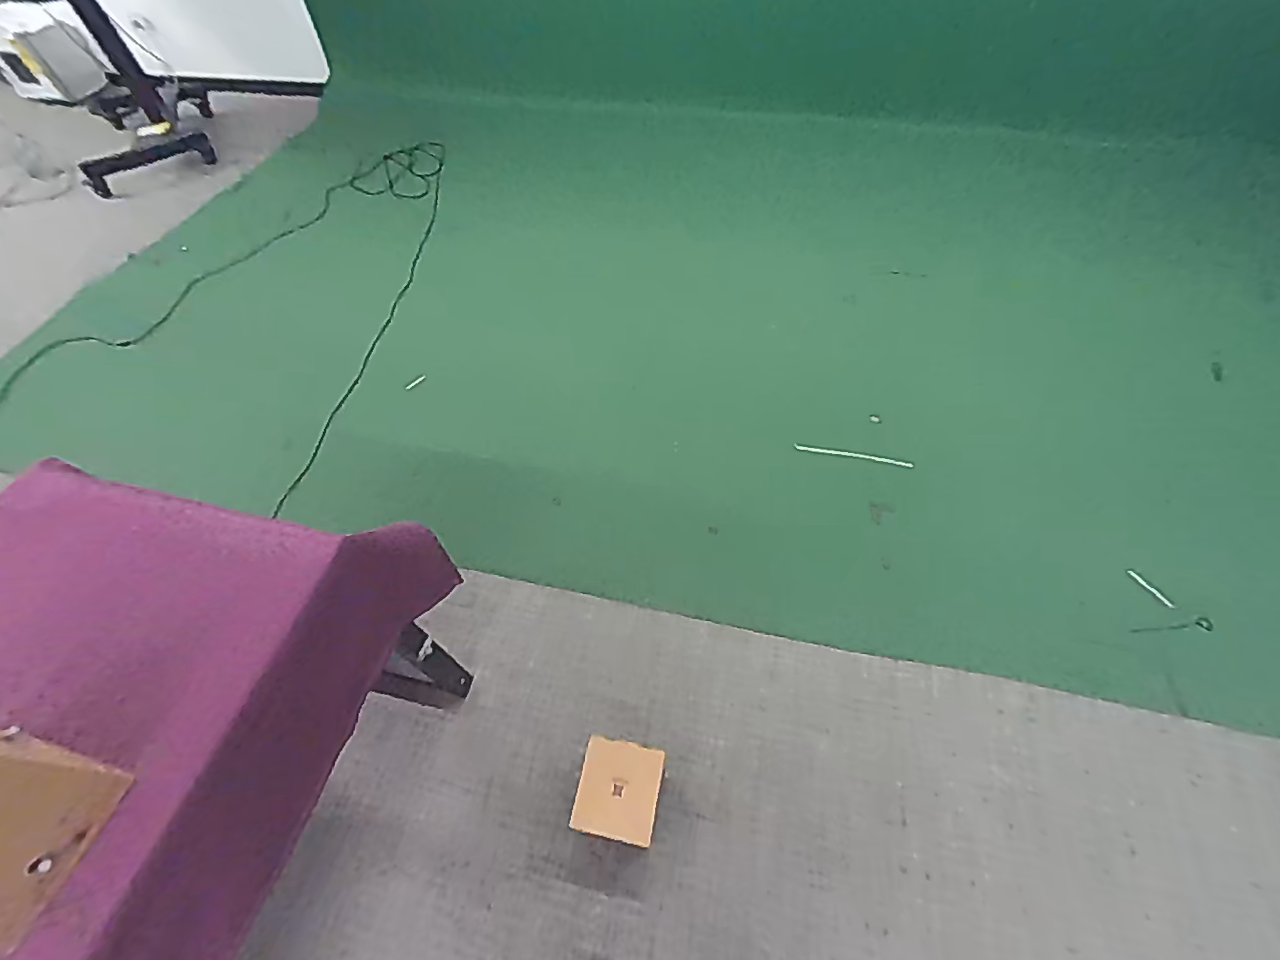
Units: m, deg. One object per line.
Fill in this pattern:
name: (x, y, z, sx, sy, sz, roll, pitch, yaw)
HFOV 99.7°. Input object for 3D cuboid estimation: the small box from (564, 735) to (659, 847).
small box: (-0.052, 0.677, 1.172, 0.168, 0.176, 0.179, 9, 55, 8)
